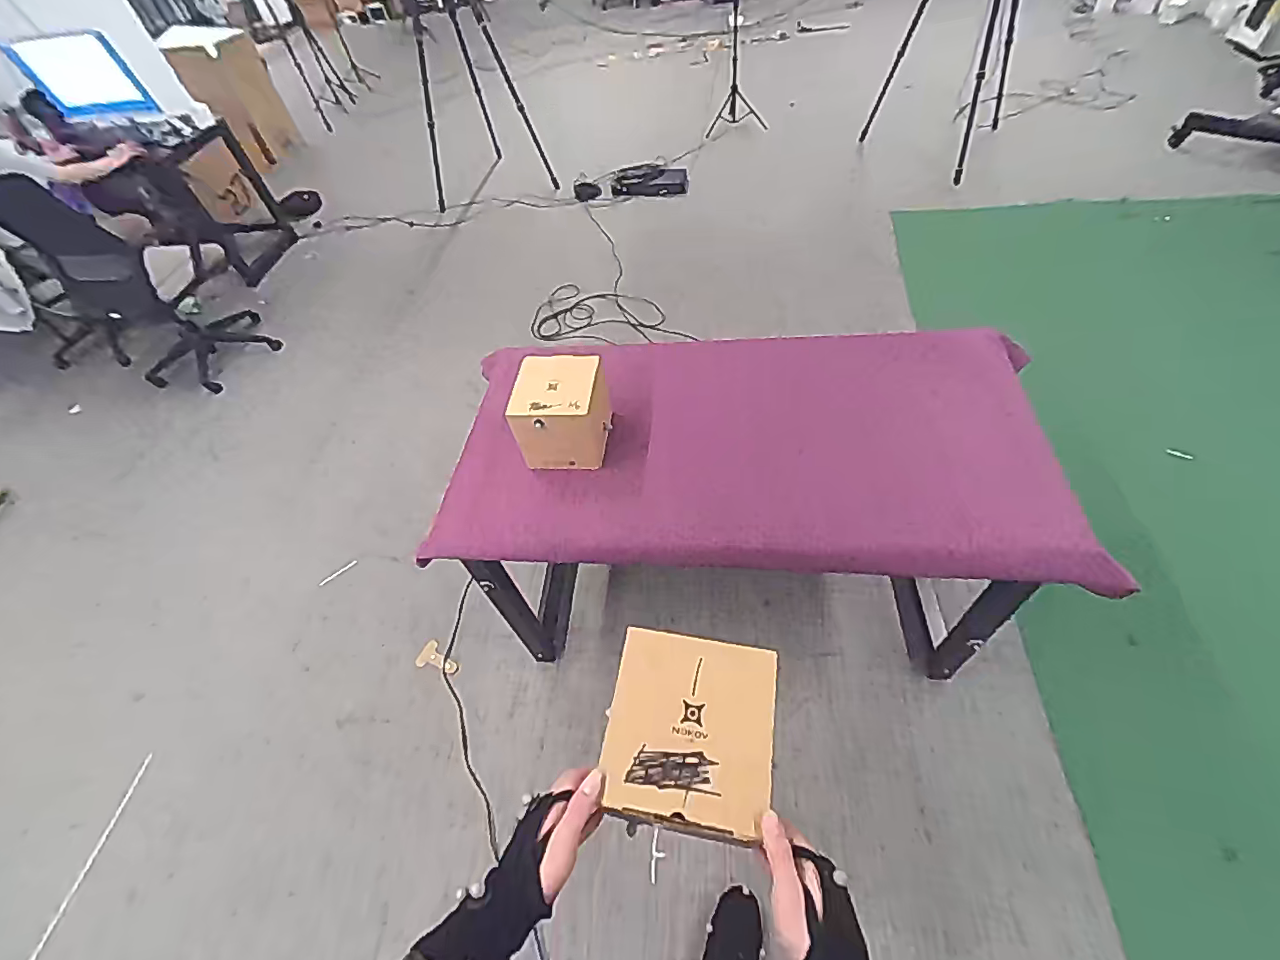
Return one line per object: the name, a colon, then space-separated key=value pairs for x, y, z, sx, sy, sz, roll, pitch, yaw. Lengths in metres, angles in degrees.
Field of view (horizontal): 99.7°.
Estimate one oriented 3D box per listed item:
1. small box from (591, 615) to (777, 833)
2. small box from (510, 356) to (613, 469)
small box: x=0.054 y=0.279 z=0.611 sx=0.168 sy=0.176 sz=0.179 roll=8 pitch=54 yaw=9
small box: x=-0.157 y=-0.145 z=1.152 sx=0.168 sy=0.176 sz=0.179 roll=1 pitch=52 yaw=9
